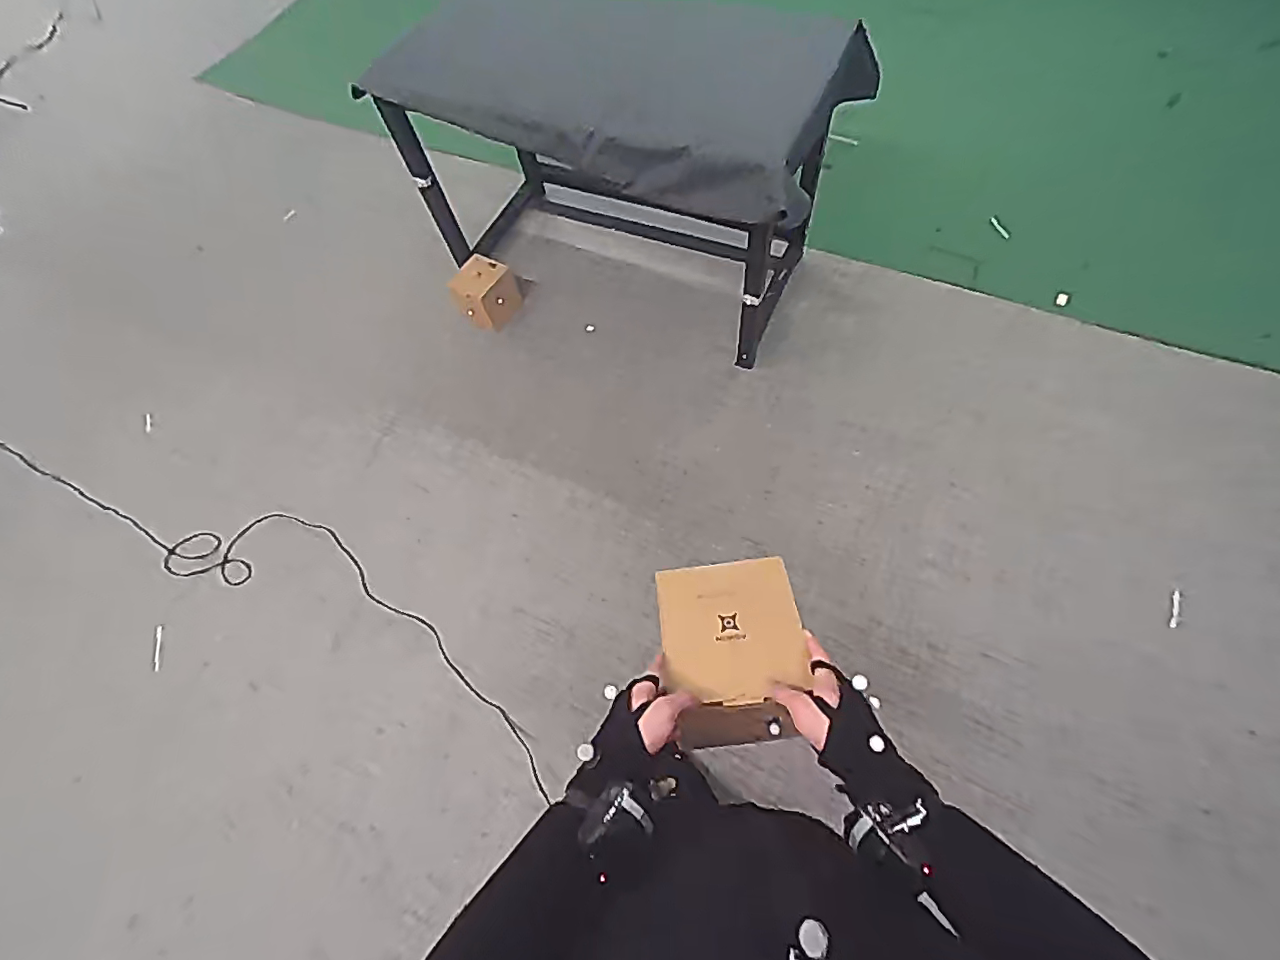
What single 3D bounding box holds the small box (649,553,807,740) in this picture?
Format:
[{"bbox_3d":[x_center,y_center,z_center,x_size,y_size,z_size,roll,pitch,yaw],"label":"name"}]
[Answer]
[{"bbox_3d":[0.108,0.220,0.693,0.168,0.176,0.179,-8,48,4],"label":"small box"}]
